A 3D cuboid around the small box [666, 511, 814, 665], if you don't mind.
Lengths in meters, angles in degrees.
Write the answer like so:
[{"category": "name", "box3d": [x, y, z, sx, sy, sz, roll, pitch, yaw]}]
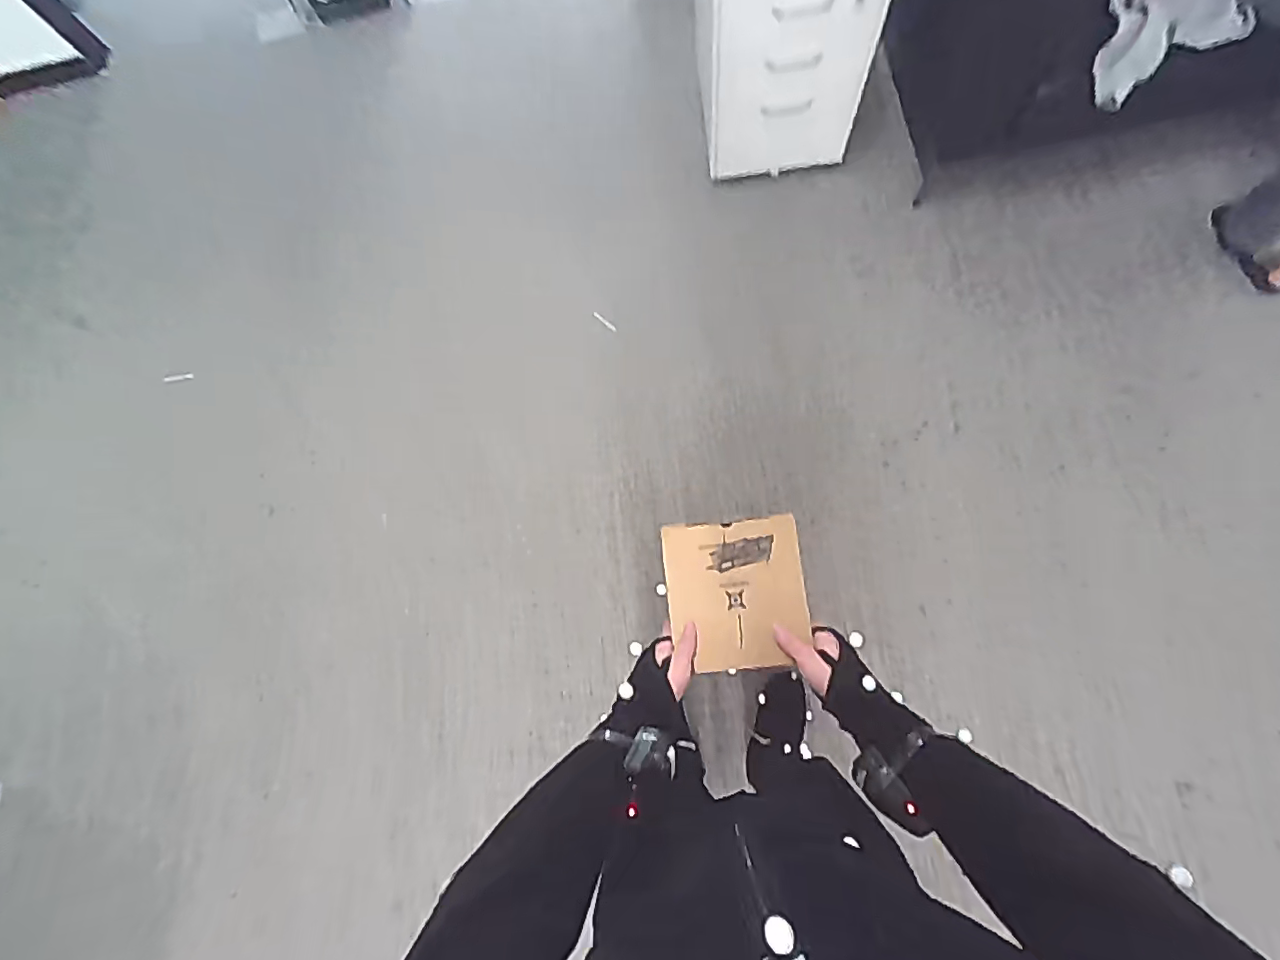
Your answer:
[{"category": "small box", "box3d": [0.121, 0.146, 0.725, 0.168, 0.176, 0.179, -5, 77, 3]}]
